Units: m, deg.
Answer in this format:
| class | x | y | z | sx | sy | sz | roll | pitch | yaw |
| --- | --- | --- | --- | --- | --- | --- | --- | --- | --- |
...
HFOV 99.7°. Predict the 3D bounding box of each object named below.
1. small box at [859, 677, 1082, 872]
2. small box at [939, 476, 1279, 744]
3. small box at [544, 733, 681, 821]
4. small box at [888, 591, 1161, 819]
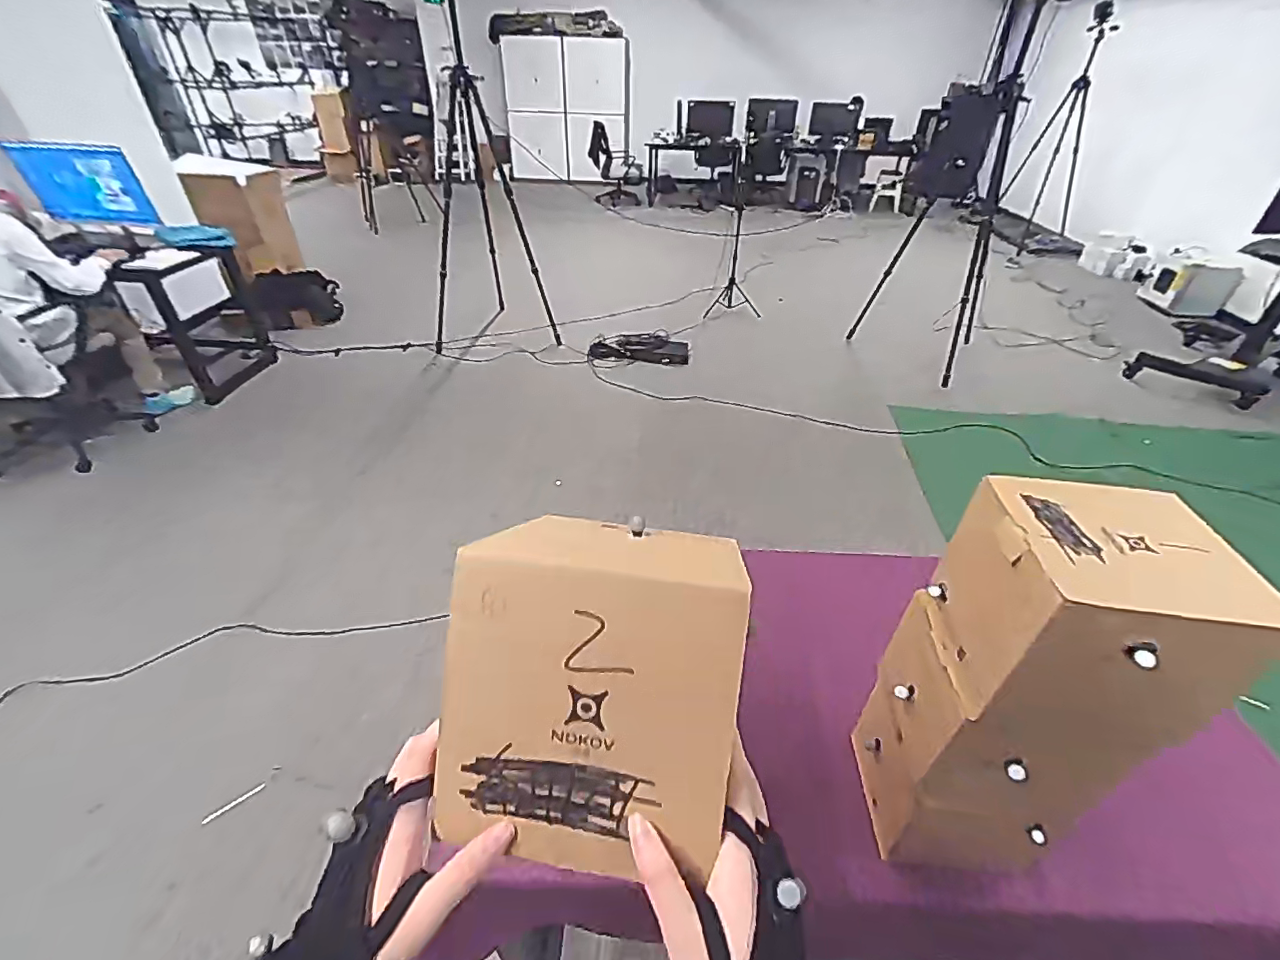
| class | x | y | z | sx | sy | sz | roll | pitch | yaw |
| --- | --- | --- | --- | --- | --- | --- | --- | --- | --- |
| small box | 0.399 | 0.379 | 0.699 | 0.179 | 0.176 | 0.168 | 3 | 37 | 2 |
| small box | 0.405 | 0.117 | 0.500 | 0.179 | 0.176 | 0.168 | 7 | 37 | 5 |
| small box | -0.024 | 0.338 | 0.742 | 0.168 | 0.176 | 0.179 | 4 | 37 | 4 |
| small box | 0.394 | 0.247 | 0.601 | 0.179 | 0.176 | 0.168 | 5 | 37 | 6 |
